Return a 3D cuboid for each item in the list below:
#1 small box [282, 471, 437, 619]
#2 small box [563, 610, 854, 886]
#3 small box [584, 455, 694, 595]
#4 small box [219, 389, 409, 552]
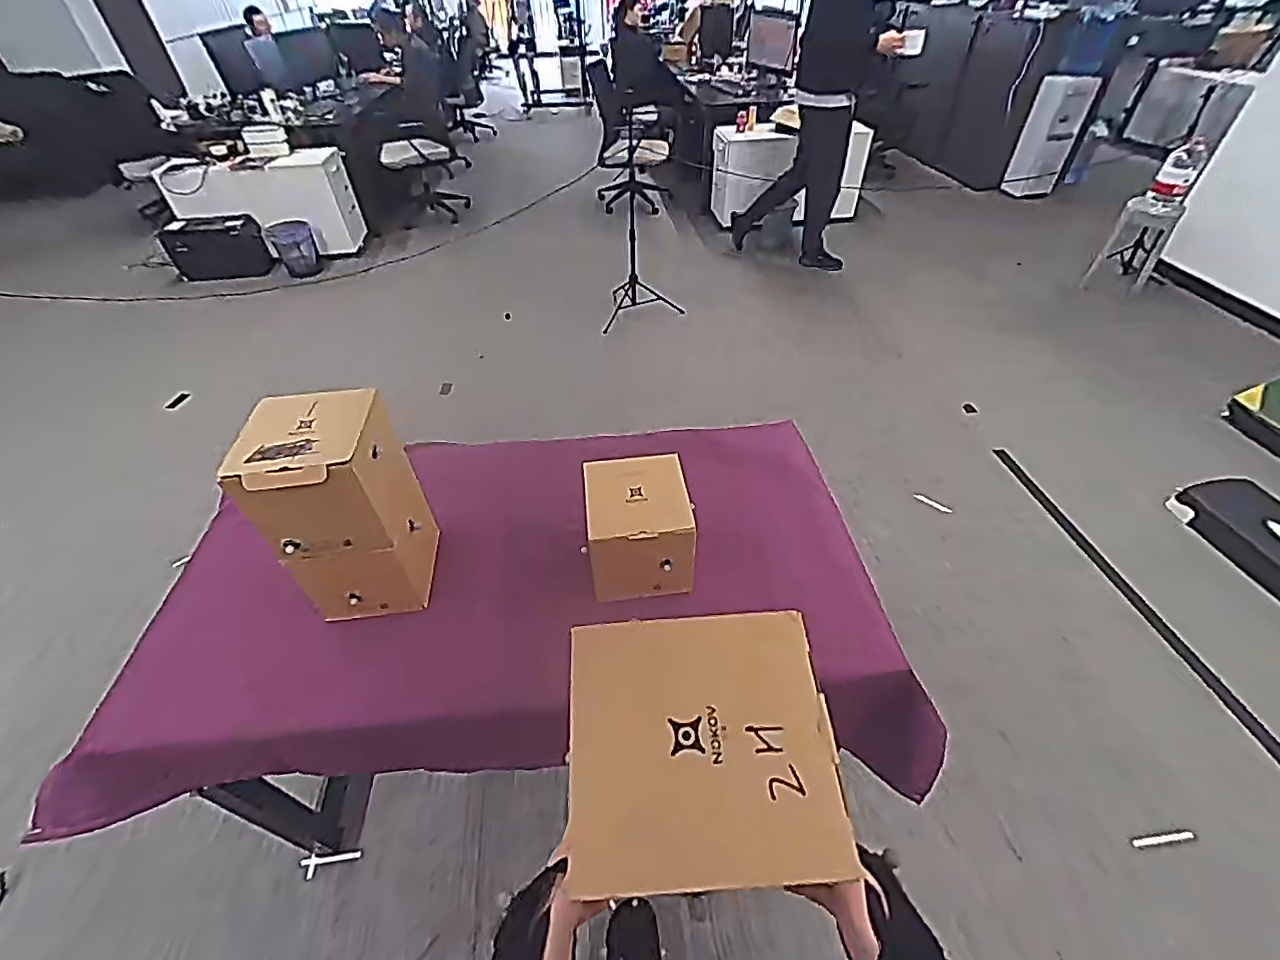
[{"bbox_3d":[-0.452,0.109,0.909,0.168,0.176,0.179,-6,45,-5],"label":"small box"},{"bbox_3d":[0.041,0.216,0.428,0.179,0.176,0.168,-4,55,0],"label":"small box"},{"bbox_3d":[-0.004,0.082,0.921,0.168,0.176,0.179,-5,44,-4],"label":"small box"},{"bbox_3d":[-0.456,-0.008,0.795,0.168,0.176,0.179,-7,45,-6],"label":"small box"}]
